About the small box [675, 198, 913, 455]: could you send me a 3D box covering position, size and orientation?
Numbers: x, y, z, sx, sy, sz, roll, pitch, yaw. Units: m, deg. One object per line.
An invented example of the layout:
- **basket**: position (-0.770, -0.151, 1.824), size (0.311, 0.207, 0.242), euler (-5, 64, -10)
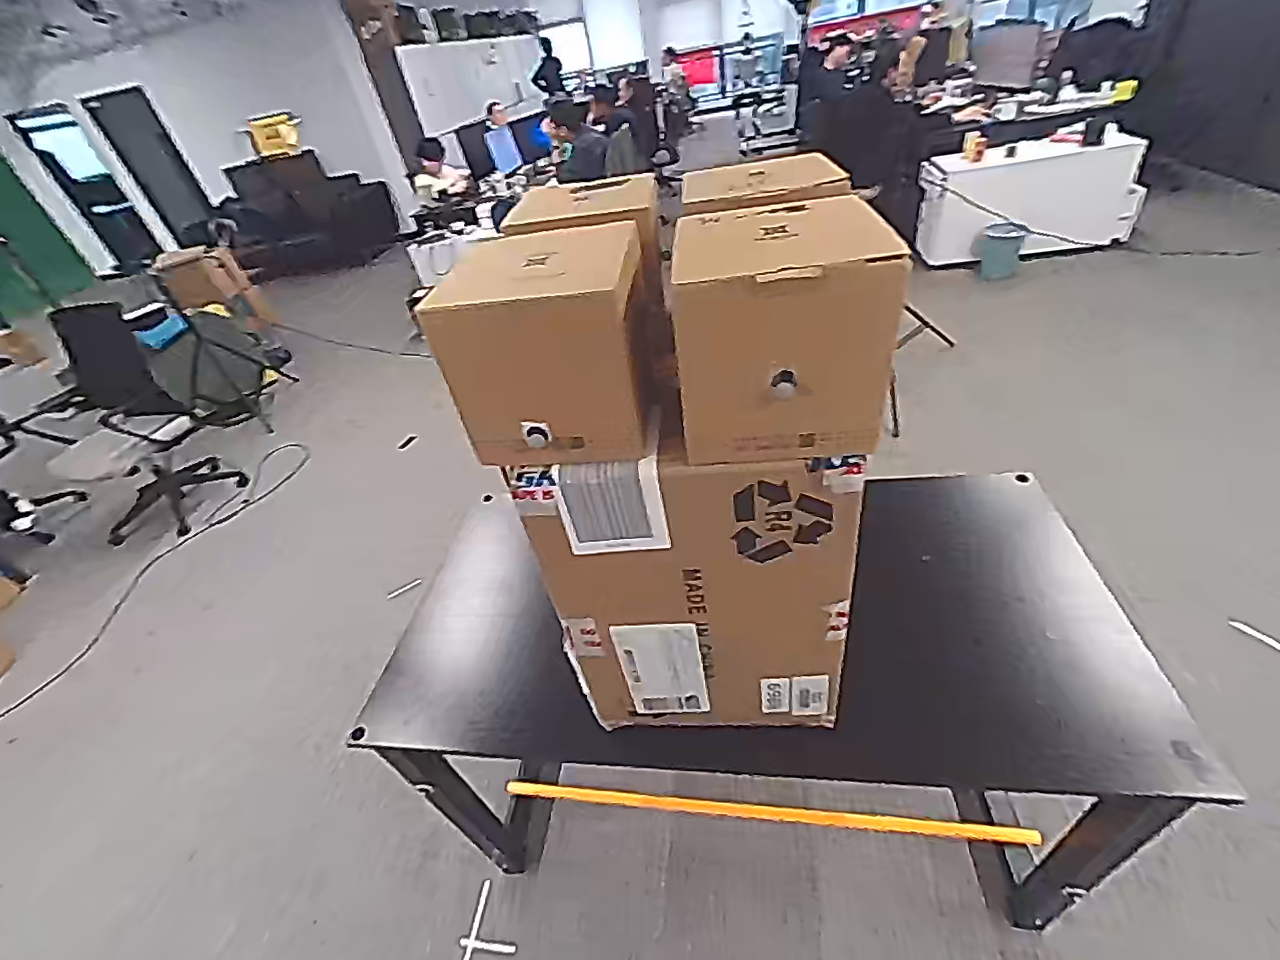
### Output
- **small box**: position (0.124, -0.134, 0.490), size (0.168, 0.176, 0.179), euler (-2, 41, 8)
